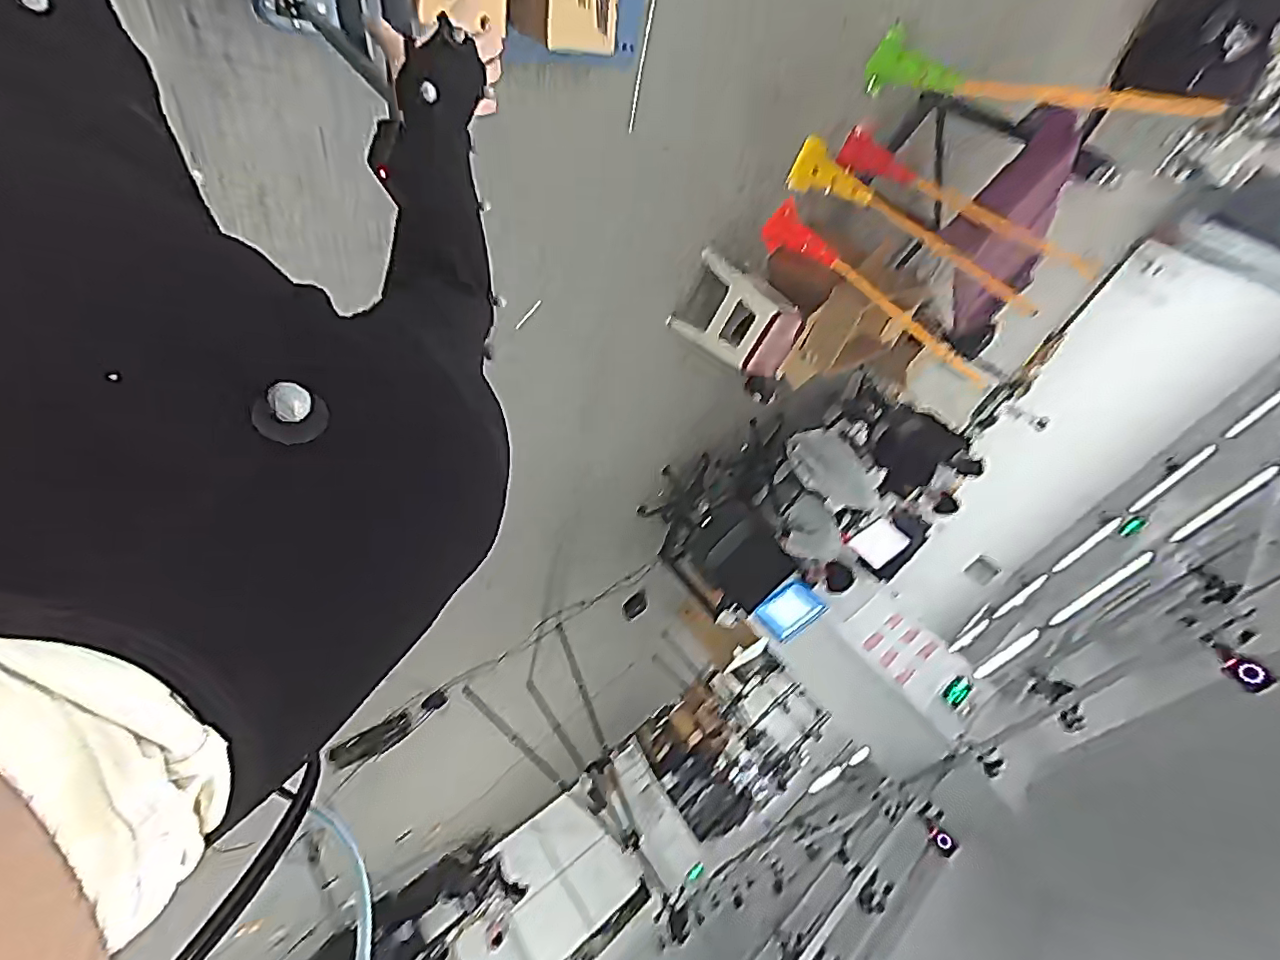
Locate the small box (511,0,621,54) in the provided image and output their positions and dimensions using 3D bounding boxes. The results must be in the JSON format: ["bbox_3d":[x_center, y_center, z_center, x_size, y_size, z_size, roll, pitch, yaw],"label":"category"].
[{"bbox_3d":[-0.157,-1.043,1.158,0.179,0.176,0.168,-23,146,-31],"label":"small box"}]

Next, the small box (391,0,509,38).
[{"bbox_3d":[-0.361,-0.963,1.009,0.179,0.176,0.168,-21,146,-34],"label":"small box"}]
